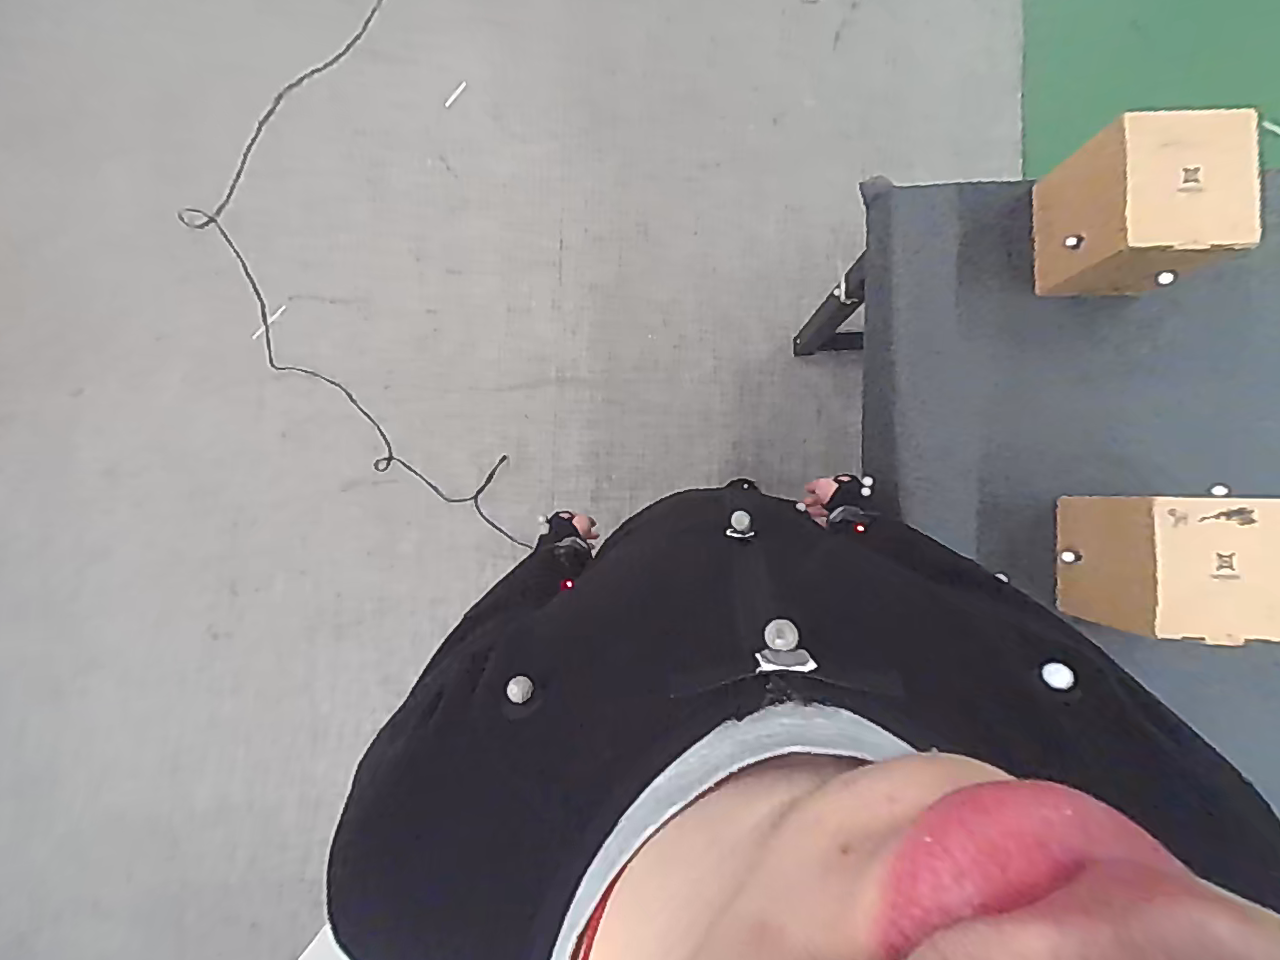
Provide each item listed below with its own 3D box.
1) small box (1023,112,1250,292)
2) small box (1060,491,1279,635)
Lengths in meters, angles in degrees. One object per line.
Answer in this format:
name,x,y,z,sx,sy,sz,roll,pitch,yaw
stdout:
small box,0.682,-0.376,0.763,0.168,0.176,0.179,-2,87,-2
small box,0.719,0.103,0.742,0.168,0.176,0.179,0,88,0
